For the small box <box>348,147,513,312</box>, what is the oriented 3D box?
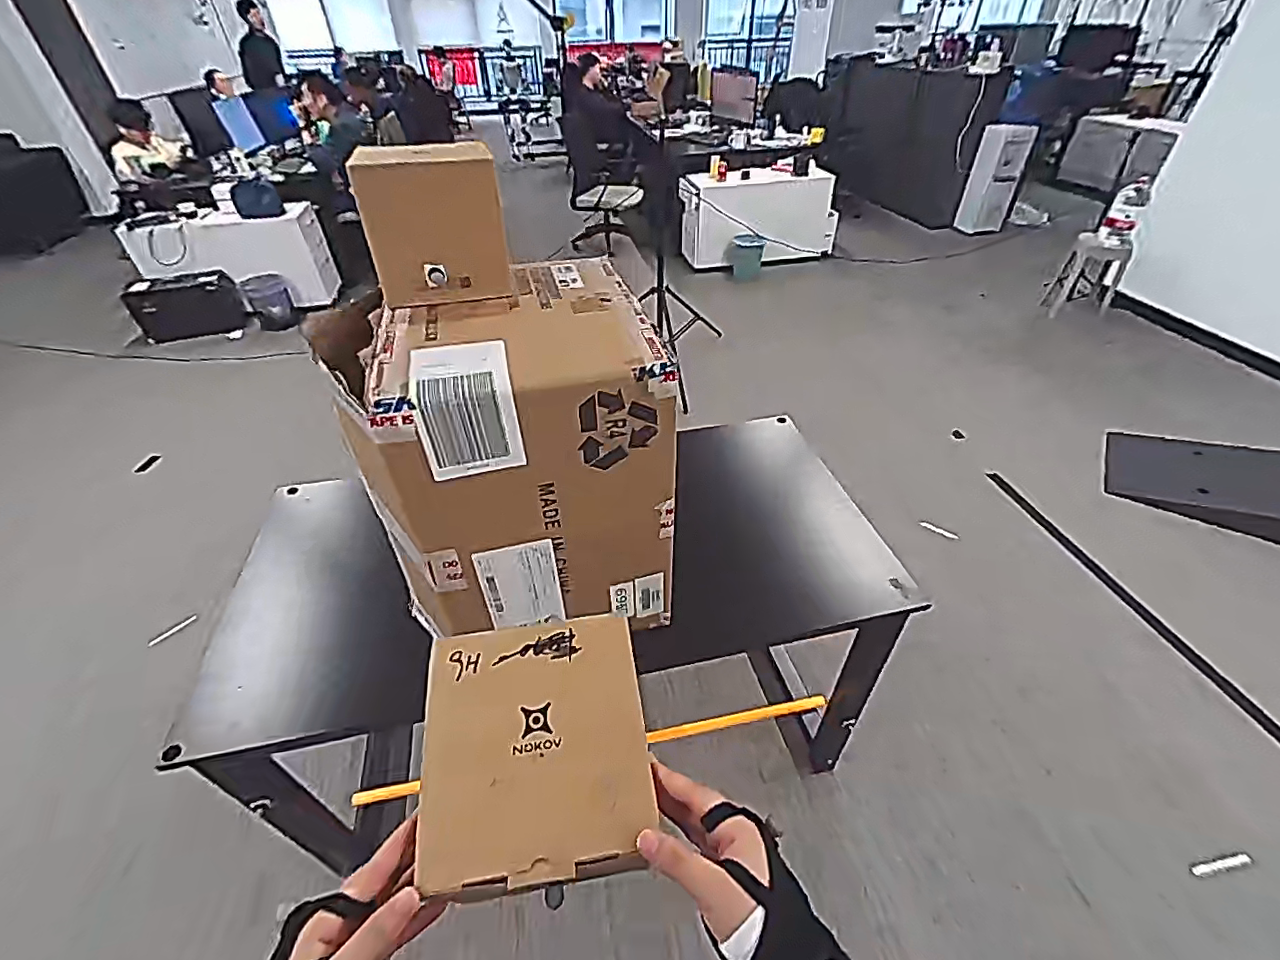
[{"bbox_3d":[-0.277,-0.345,0.738,0.168,0.176,0.179,-13,40,-14],"label":"small box"}]
